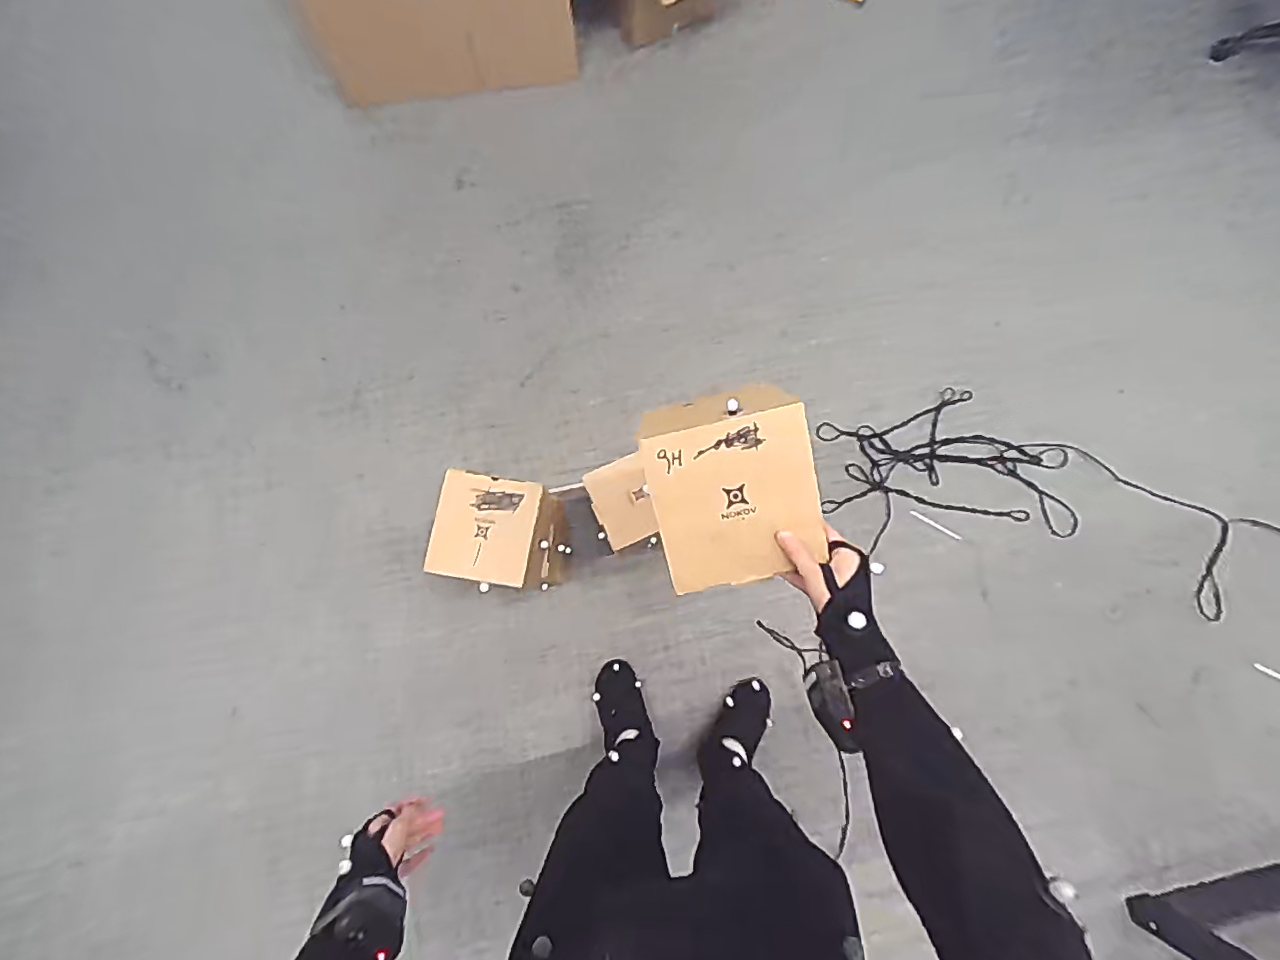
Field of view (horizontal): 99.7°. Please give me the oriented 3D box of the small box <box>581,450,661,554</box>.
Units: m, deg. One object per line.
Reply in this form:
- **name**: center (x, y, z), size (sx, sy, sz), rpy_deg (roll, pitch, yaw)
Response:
- **small box**: center (-0.008, 0.048, 1.143), size (0.179, 0.176, 0.168), rpy_deg (-24, 80, -5)

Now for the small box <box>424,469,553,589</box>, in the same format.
- **small box**: center (-0.257, 0.095, 0.965), size (0.168, 0.176, 0.179), rpy_deg (9, 78, 1)

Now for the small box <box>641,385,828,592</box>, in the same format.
- **small box**: center (0.100, 0.000, 0.616), size (0.168, 0.176, 0.179), rpy_deg (-12, 105, 5)

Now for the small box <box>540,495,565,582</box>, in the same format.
- **small box**: center (-0.259, 0.122, 1.127), size (0.179, 0.176, 0.168), rpy_deg (5, 77, -1)
